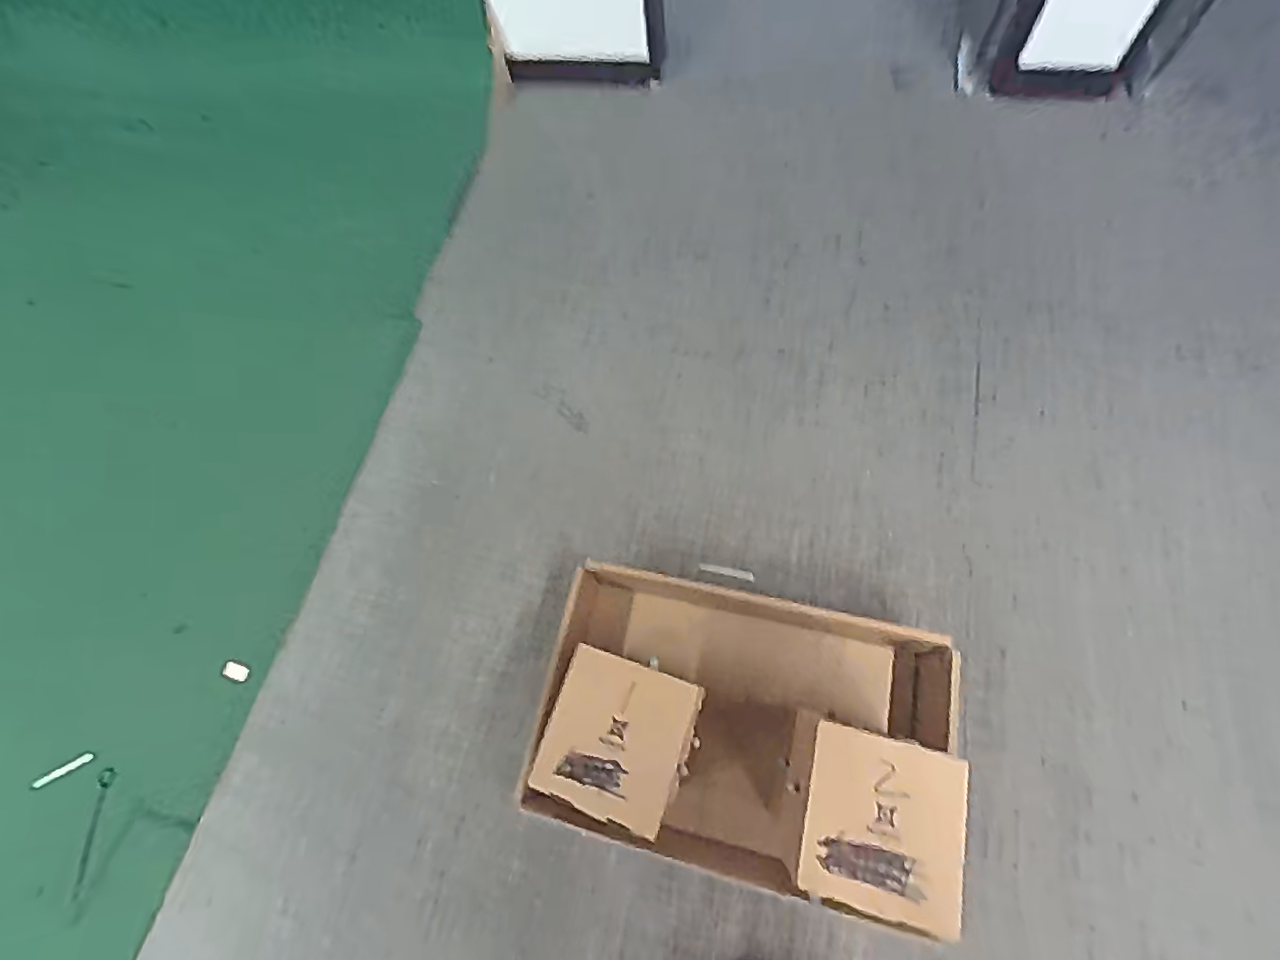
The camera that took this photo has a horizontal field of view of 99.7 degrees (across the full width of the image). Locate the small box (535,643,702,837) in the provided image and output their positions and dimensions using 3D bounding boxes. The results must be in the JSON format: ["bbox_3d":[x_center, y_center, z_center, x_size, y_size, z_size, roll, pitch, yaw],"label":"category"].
[{"bbox_3d":[-0.015,0.341,0.737,0.168,0.176,0.179,16,71,13],"label":"small box"}]
